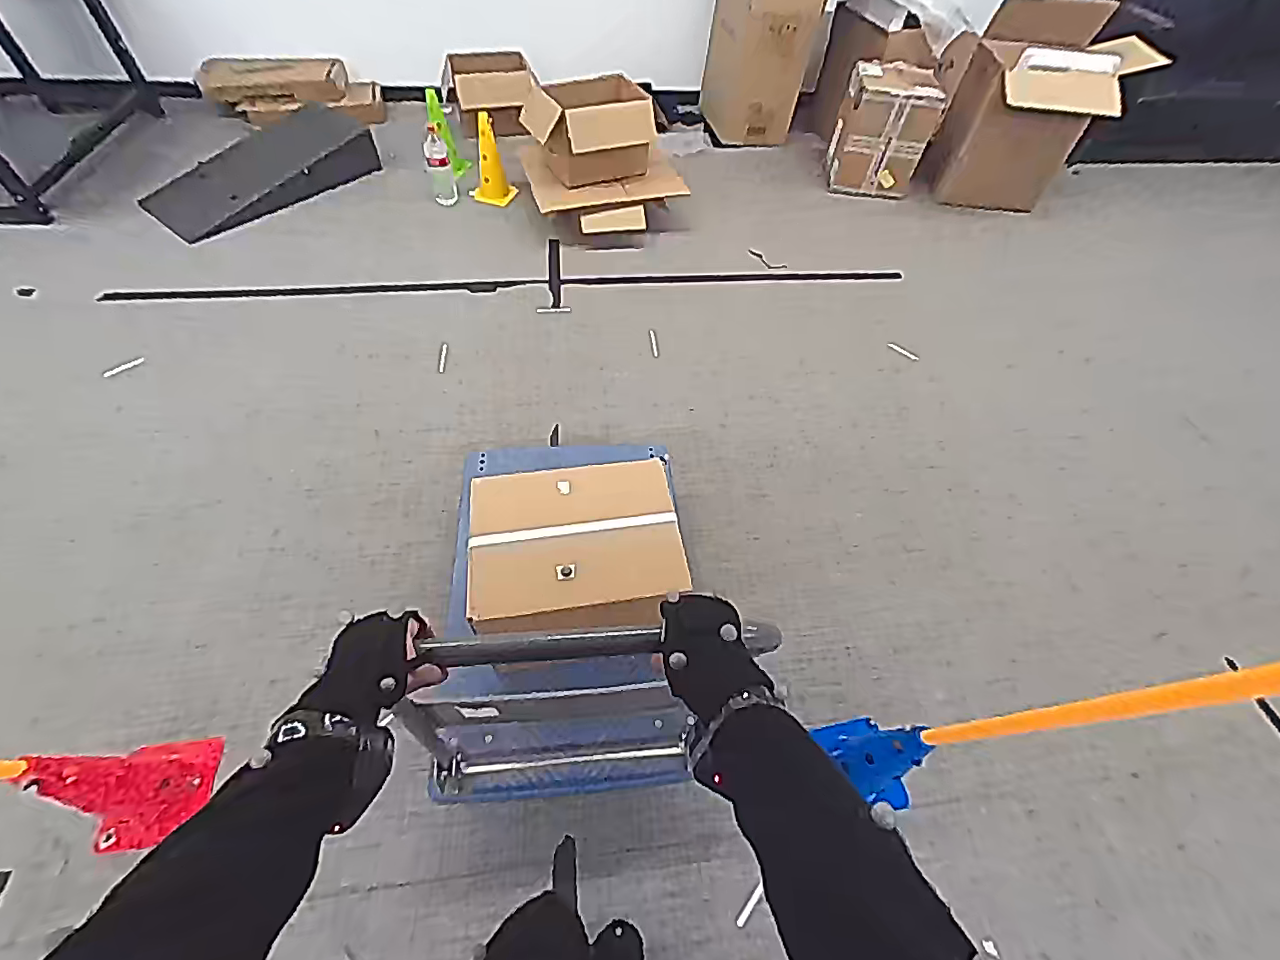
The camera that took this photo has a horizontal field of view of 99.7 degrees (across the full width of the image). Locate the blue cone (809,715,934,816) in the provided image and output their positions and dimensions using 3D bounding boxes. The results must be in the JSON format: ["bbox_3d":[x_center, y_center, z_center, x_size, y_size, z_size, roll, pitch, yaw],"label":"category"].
[{"bbox_3d":[0.521,0.575,1.145,0.193,0.380,0.192,-7,54,-9],"label":"blue cone"}]
